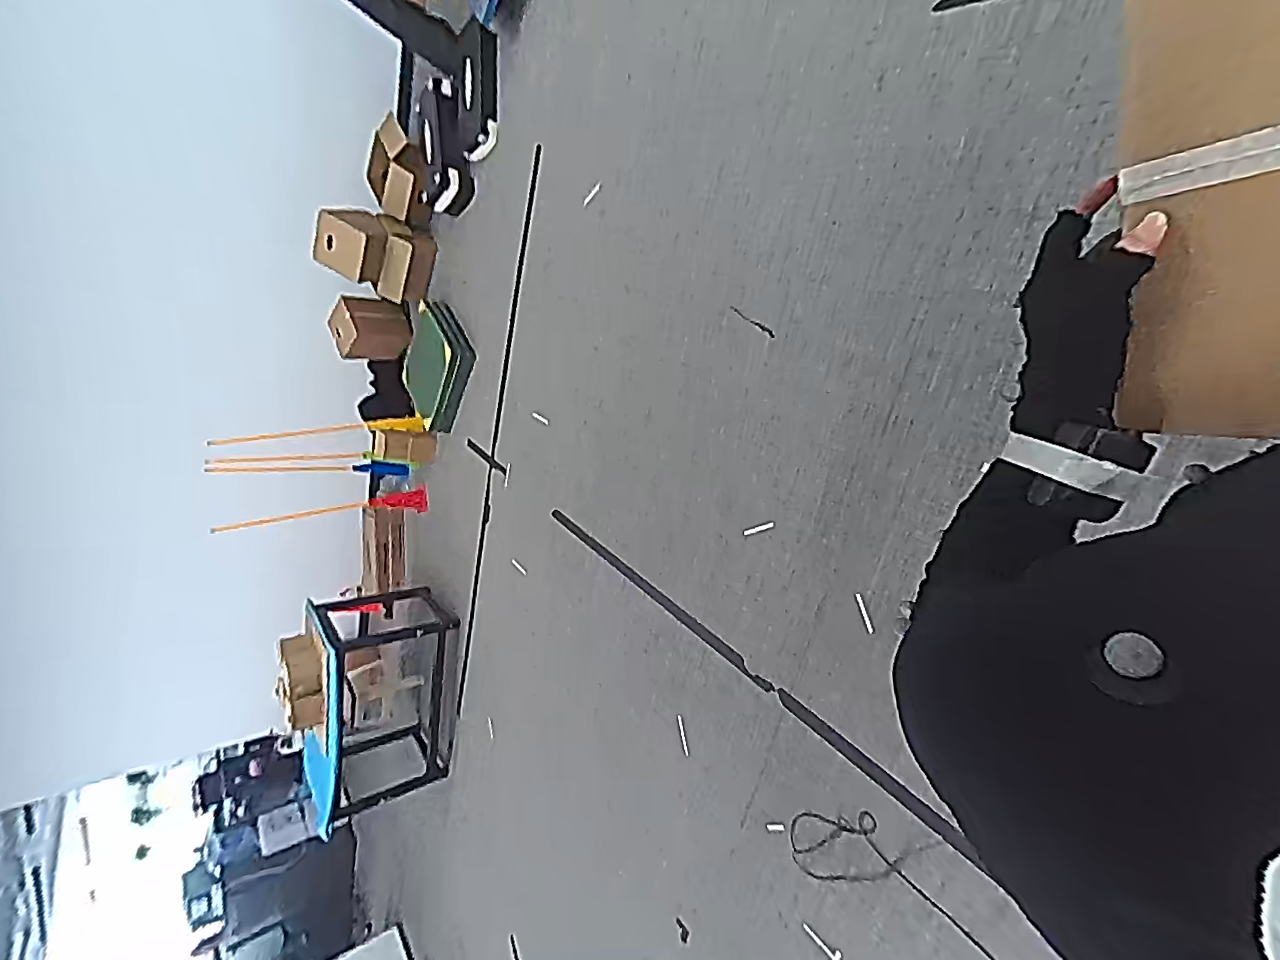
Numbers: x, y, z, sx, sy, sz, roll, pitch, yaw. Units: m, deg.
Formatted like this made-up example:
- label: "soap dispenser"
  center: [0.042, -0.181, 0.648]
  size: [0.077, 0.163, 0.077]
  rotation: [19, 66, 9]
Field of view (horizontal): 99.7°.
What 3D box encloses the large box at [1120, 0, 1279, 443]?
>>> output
- label: "large box"
  center: [0.534, -0.204, 0.255]
  size: [0.408, 0.320, 0.320]
  rotation: [12, 121, 56]
